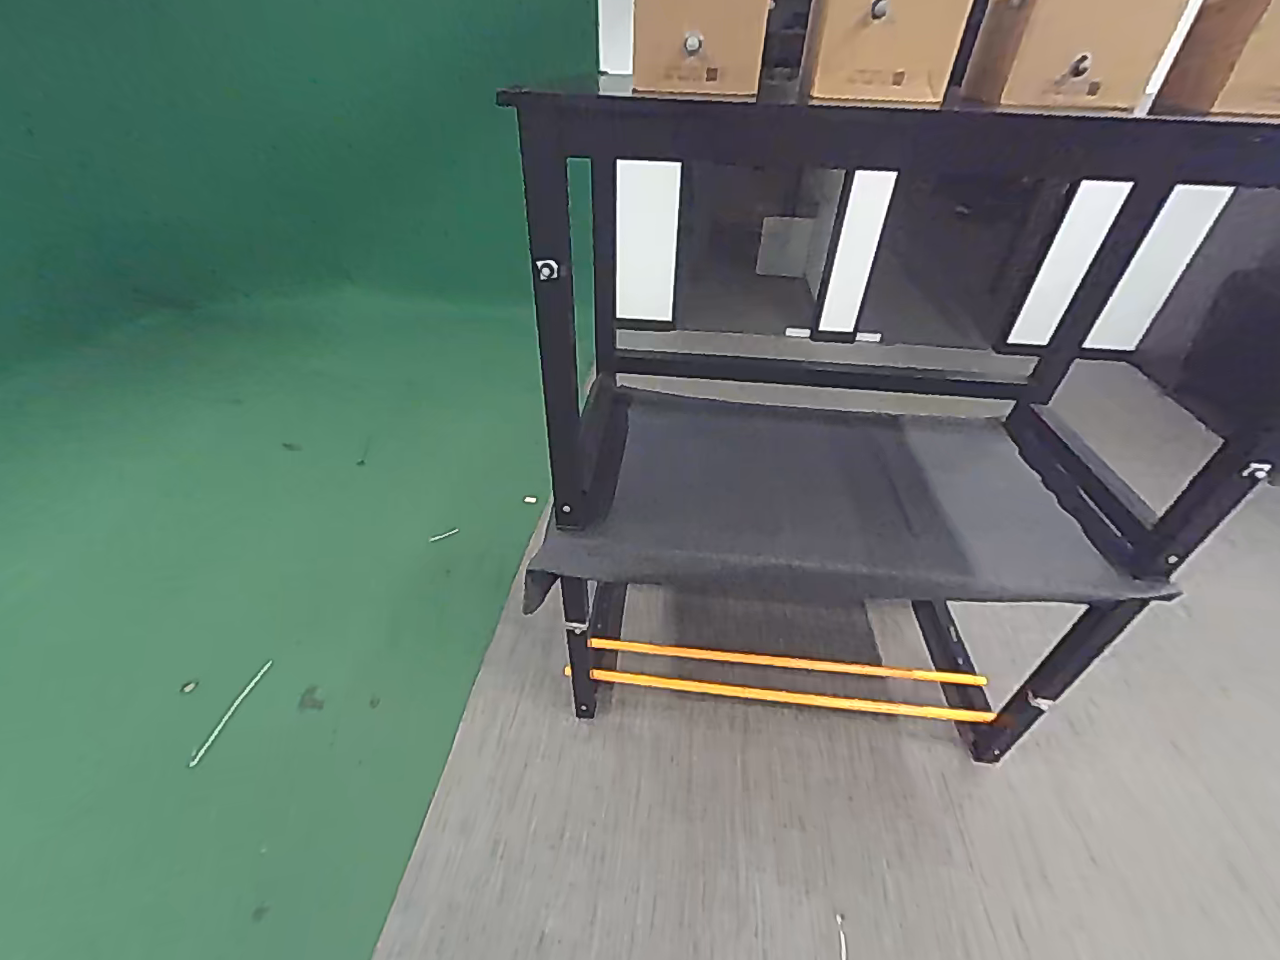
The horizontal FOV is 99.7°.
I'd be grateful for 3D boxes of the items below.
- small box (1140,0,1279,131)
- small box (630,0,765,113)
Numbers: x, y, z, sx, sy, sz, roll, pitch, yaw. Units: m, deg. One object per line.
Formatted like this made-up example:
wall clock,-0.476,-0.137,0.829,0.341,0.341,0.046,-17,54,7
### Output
small box,0.792,-0.541,0.675,0.168,0.176,0.179,12,39,12
small box,0.076,-0.615,0.740,0.168,0.176,0.179,4,39,3
